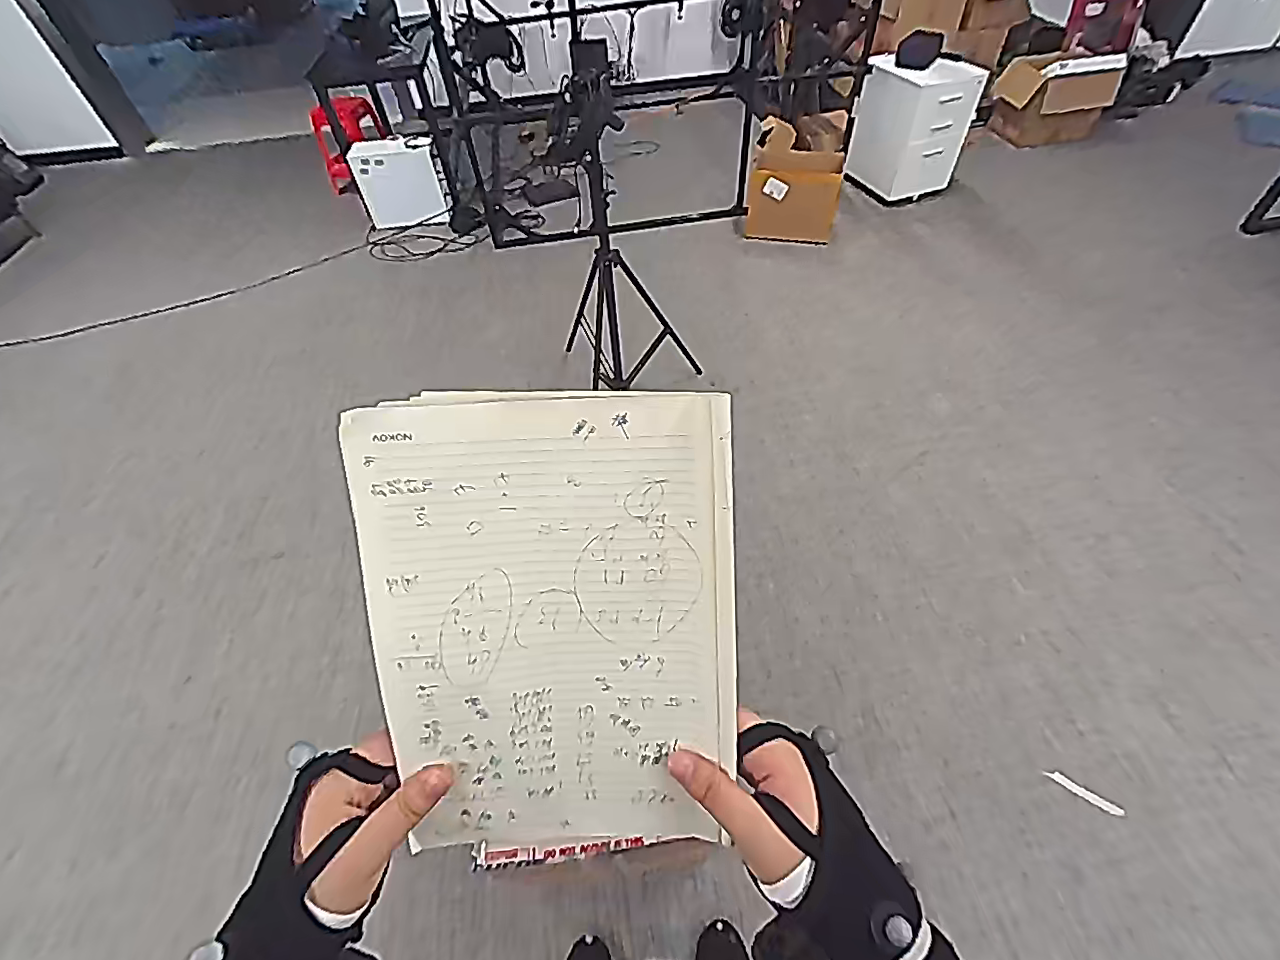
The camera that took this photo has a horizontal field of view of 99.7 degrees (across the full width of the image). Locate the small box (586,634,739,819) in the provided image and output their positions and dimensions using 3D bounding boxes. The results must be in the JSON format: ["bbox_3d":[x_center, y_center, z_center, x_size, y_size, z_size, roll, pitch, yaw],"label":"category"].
[{"bbox_3d":[0.020,0.327,0.715,0.168,0.176,0.179,-7,52,-5],"label":"small box"}]

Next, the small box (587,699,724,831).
[{"bbox_3d":[0.019,0.430,0.844,0.179,0.176,0.168,-10,52,-6],"label":"small box"}]
